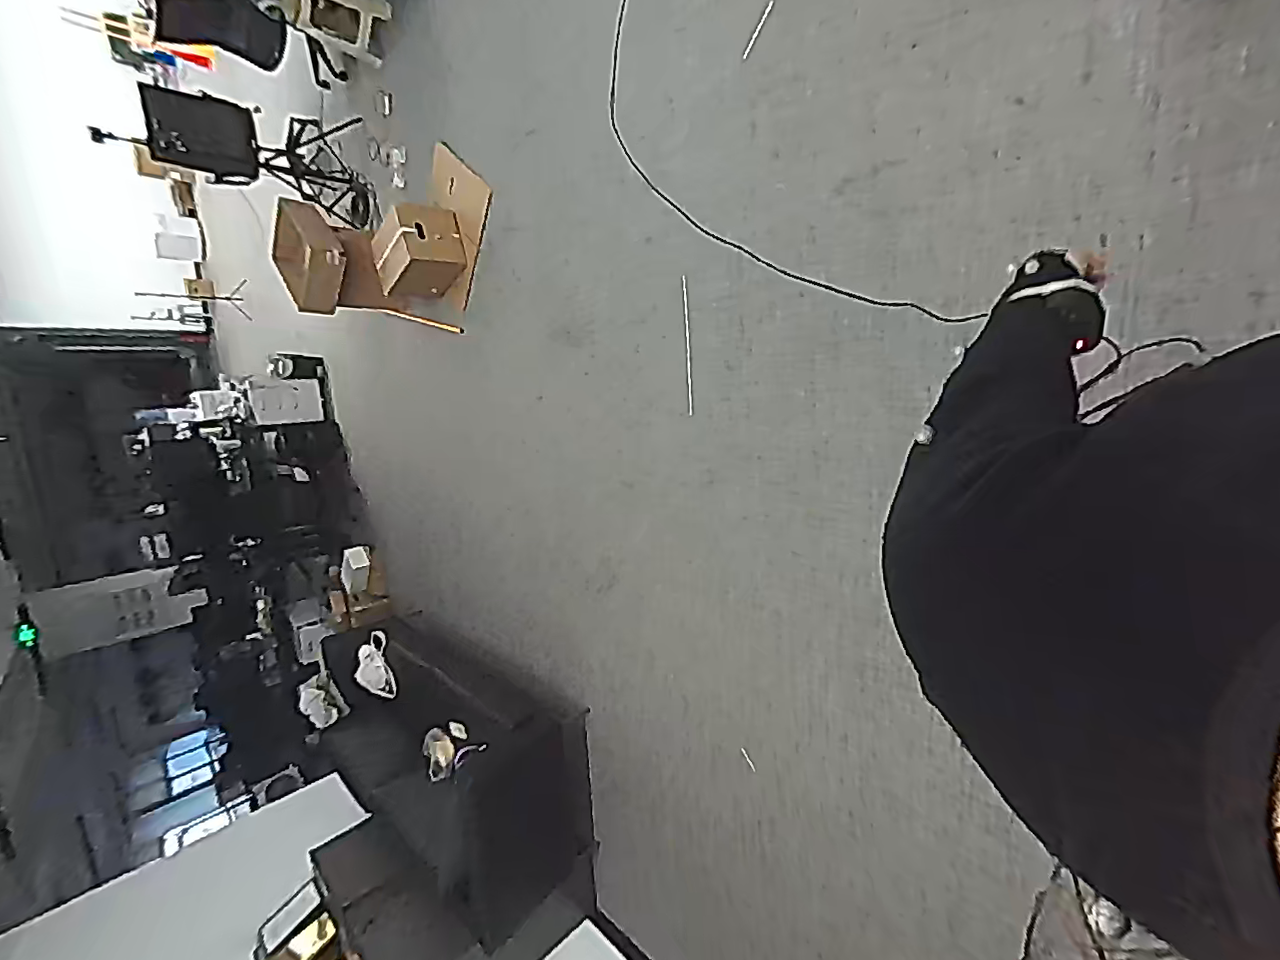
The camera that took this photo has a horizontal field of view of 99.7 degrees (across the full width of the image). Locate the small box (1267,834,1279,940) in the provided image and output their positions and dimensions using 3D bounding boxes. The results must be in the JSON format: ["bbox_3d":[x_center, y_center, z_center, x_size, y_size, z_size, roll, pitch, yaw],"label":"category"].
[{"bbox_3d":[1.266,0.750,0.958,0.179,0.176,0.168,13,109,45],"label":"small box"}]
